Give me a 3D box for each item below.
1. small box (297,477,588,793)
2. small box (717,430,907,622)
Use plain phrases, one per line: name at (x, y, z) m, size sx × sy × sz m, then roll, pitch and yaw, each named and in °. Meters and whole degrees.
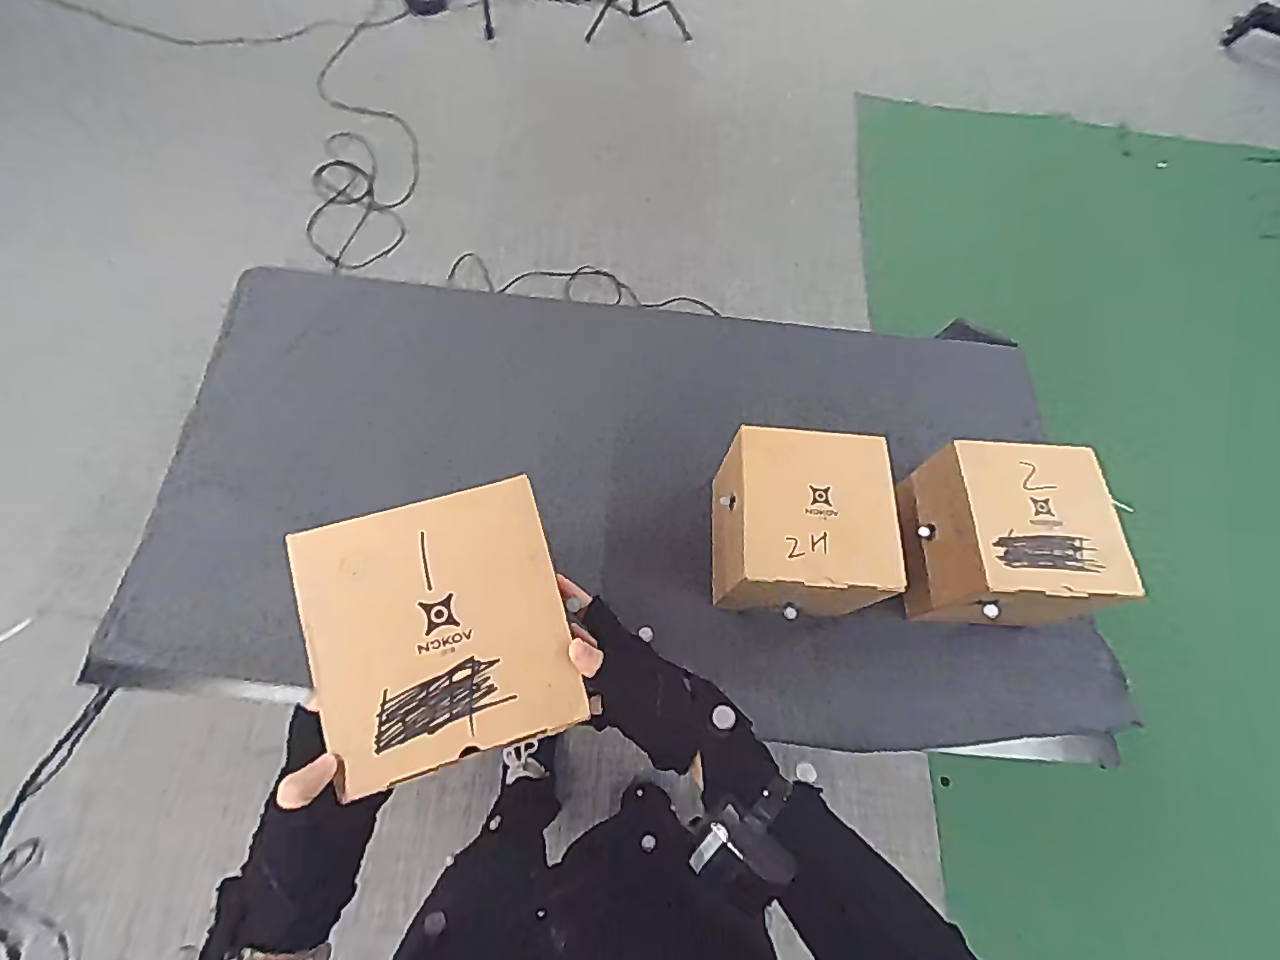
small box at (-0.142, 0.112, 0.440) m, size 0.168 × 0.176 × 0.179 m, roll -13°, pitch 80°, yaw -11°
small box at (0.186, 0.061, 0.643) m, size 0.168 × 0.176 × 0.179 m, roll 4°, pitch 66°, yaw -1°
